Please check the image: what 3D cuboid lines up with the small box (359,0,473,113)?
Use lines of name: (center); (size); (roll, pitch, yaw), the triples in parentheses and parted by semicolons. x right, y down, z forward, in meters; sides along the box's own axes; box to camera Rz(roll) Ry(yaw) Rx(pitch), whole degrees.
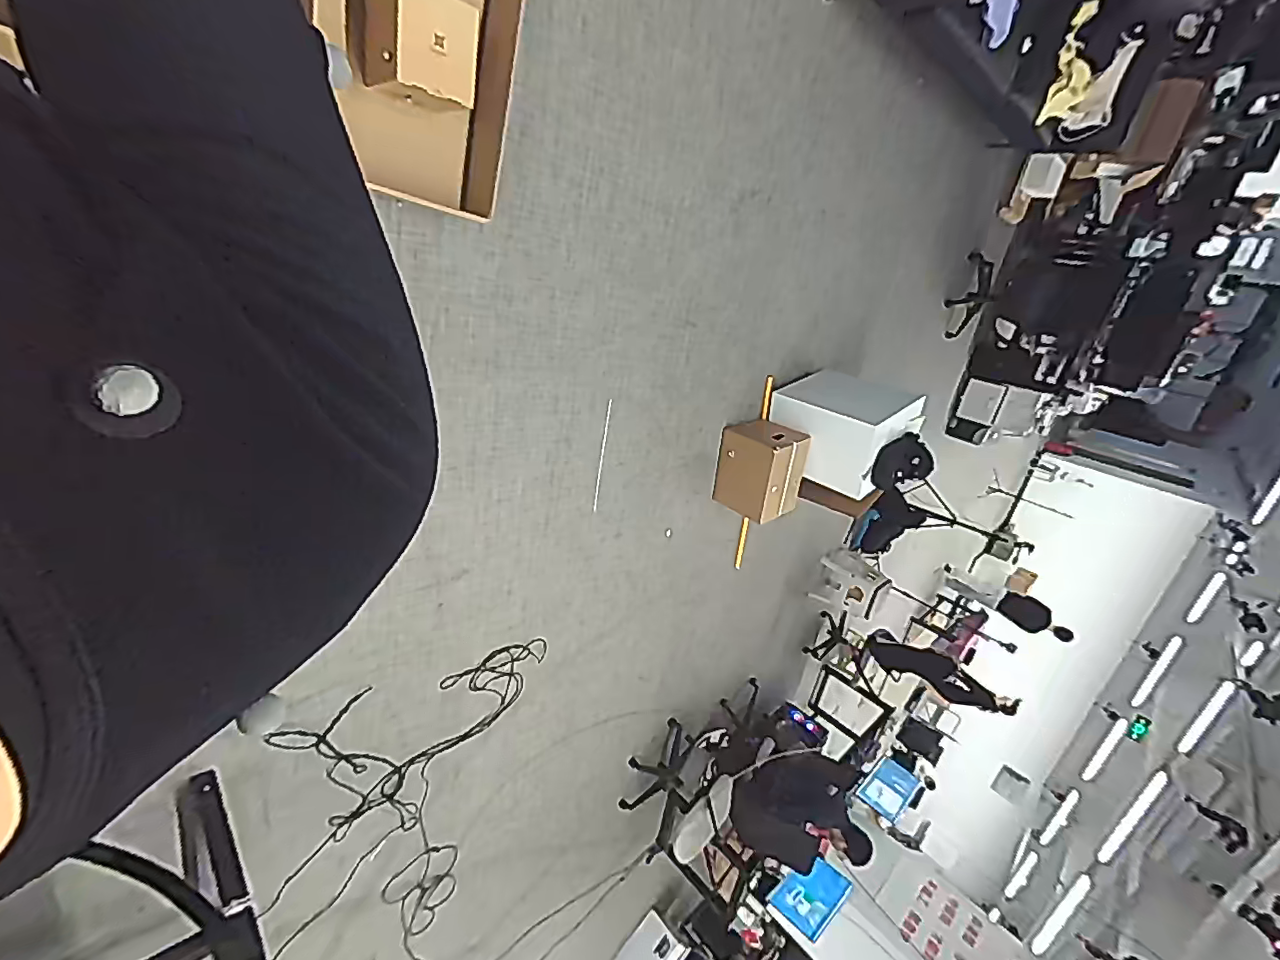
small box: (-0.467, -0.889, 1.120); (0.168, 0.176, 0.179); (-11, 120, -45)
